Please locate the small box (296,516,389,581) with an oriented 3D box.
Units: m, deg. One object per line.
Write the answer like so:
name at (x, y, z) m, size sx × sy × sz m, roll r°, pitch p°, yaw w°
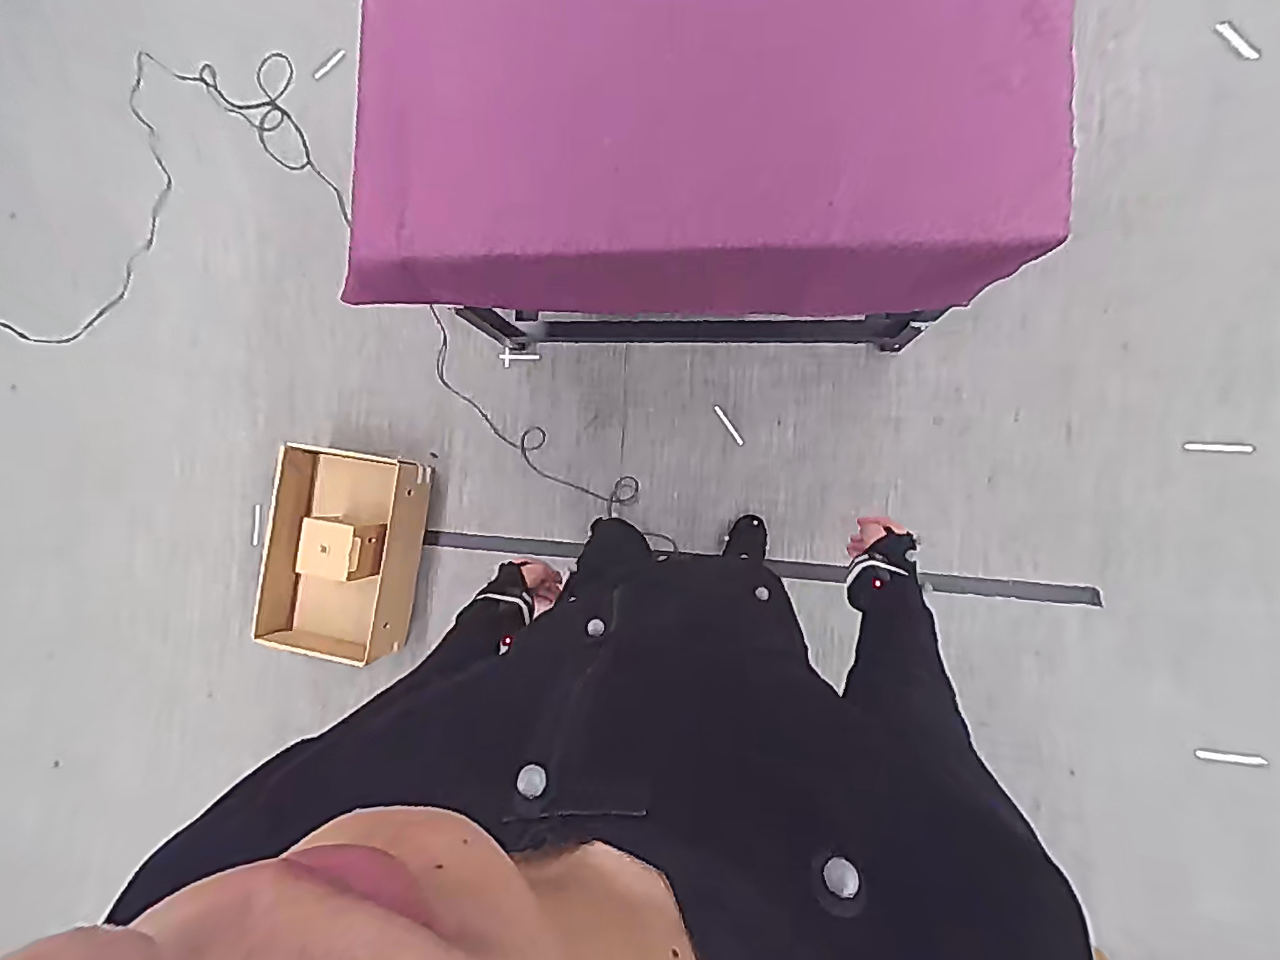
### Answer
small box at (-0.904, 0.203, 1.657) m, size 0.179 × 0.176 × 0.168 m, roll 9°, pitch 89°, yaw 9°
